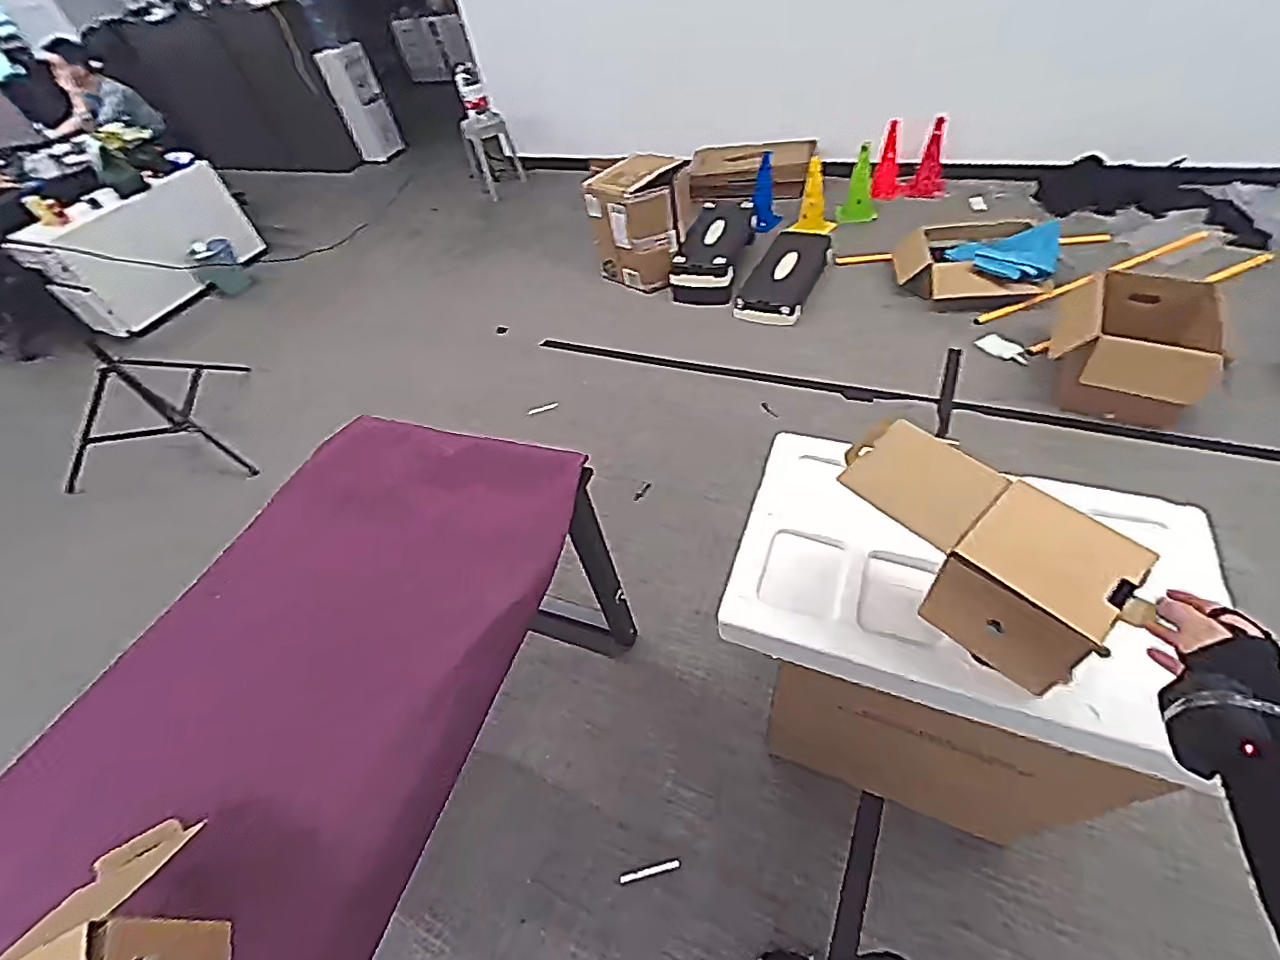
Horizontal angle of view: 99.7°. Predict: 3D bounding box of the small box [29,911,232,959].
[{"bbox_3d":[-0.536,0.567,0.524,0.168,0.176,0.179,-27,49,-11],"label":"small box"}]
